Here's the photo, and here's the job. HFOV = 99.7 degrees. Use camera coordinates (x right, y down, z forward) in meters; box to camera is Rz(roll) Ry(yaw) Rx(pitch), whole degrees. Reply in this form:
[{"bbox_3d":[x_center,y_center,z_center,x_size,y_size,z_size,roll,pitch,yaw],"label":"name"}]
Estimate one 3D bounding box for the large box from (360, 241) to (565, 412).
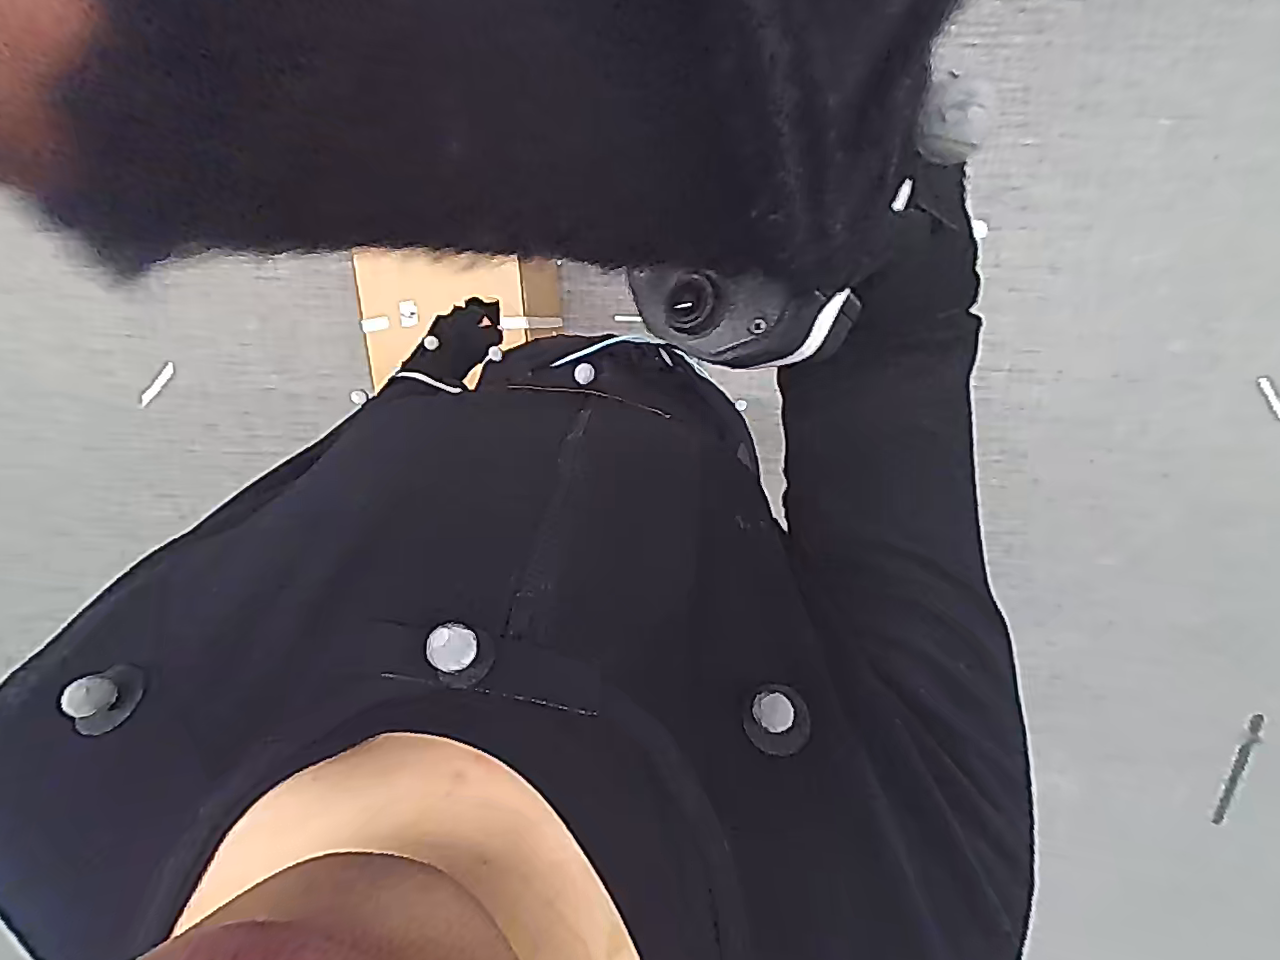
[{"bbox_3d":[-0.363,-0.344,1.221,0.320,0.408,0.320,-1,107,2],"label":"large box"}]
